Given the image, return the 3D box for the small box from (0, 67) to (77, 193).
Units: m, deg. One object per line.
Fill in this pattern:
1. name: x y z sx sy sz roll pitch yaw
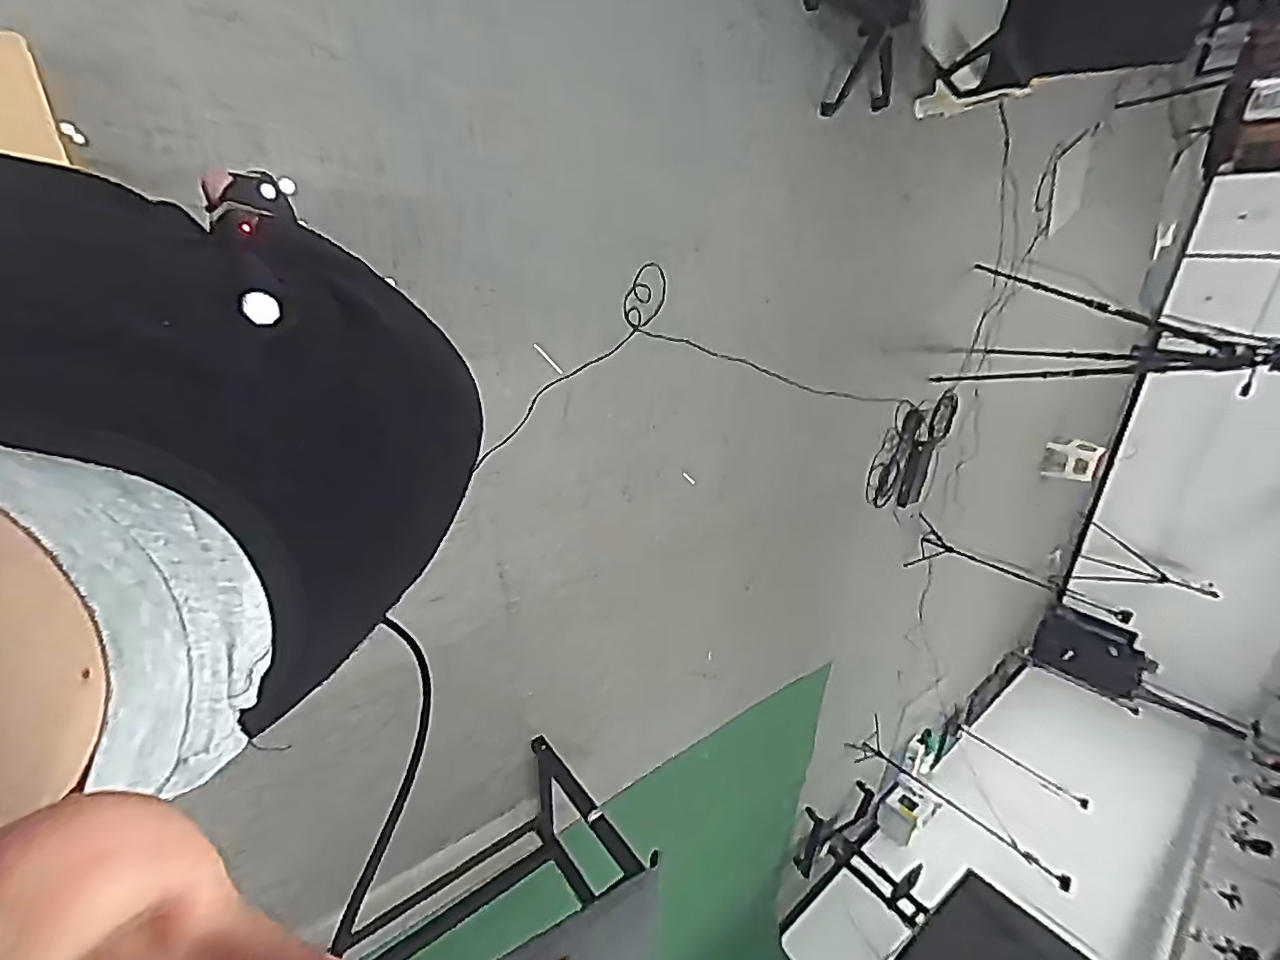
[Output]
1. small box: -1.084 -0.582 0.895 0.168 0.176 0.179 -20 120 -34

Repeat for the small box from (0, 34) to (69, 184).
1. small box: -0.977 -0.535 0.781 0.168 0.176 0.179 -18 120 -35
